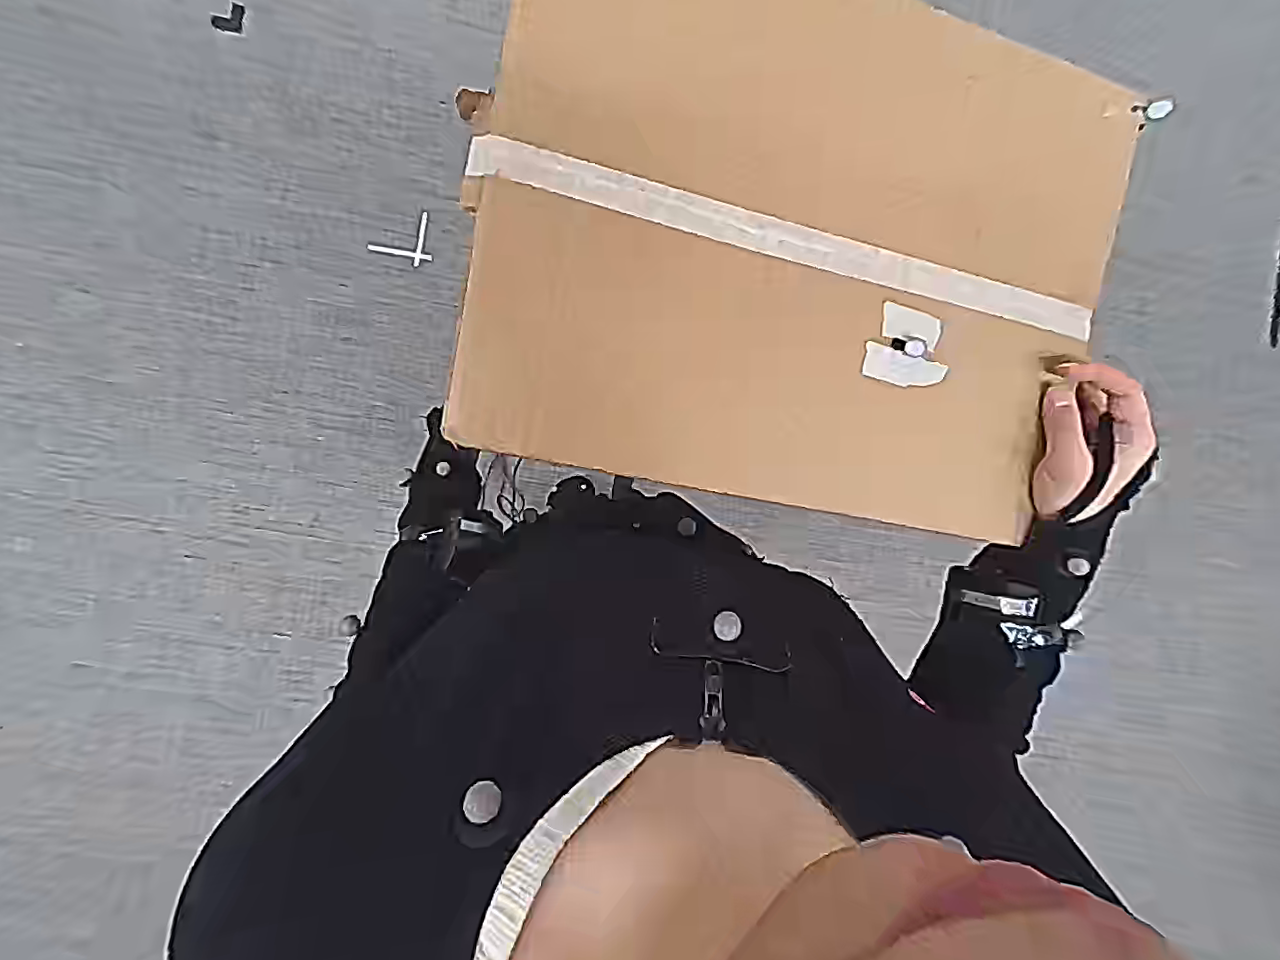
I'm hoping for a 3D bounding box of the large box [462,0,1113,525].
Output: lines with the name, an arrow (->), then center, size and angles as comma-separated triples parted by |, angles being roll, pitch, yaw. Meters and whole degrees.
large box -> 0.080, -0.161, 0.485 | 0.408, 0.320, 0.320 | 10, 95, -13
